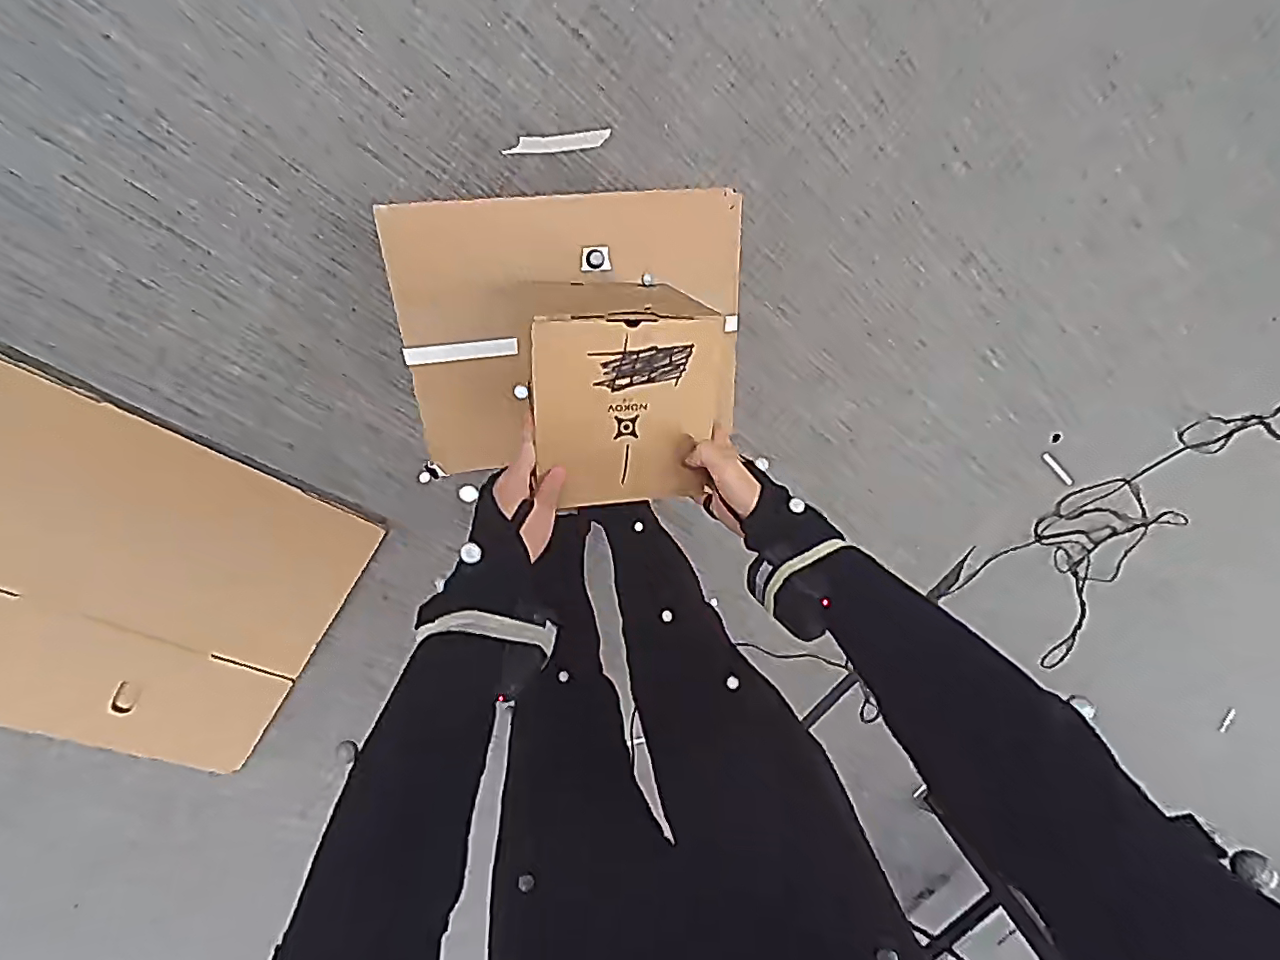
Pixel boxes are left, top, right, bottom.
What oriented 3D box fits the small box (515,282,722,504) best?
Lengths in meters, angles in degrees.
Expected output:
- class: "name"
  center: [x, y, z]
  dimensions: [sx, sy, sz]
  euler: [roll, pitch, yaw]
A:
- class: "small box"
  center: [-0.033, -0.098, 0.546]
  dimensions: [0.168, 0.176, 0.179]
  euler: [-5, 120, -15]
